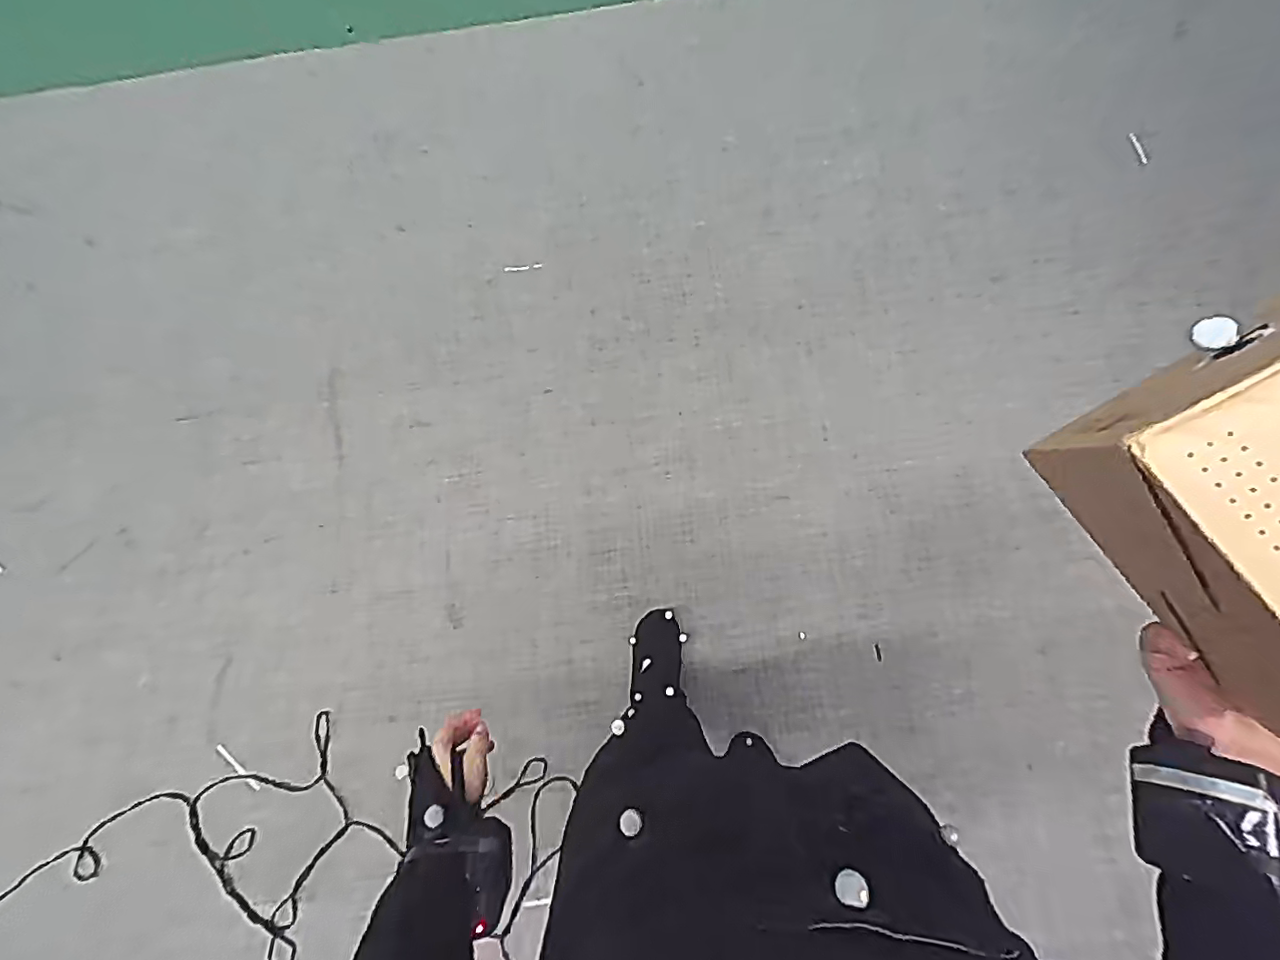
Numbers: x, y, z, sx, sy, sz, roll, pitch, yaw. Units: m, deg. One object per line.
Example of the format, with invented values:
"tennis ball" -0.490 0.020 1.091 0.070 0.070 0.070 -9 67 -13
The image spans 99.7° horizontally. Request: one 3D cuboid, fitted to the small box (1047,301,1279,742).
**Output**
"small box" 0.315 0.015 0.228 0.176 0.168 0.179 -39 77 22
